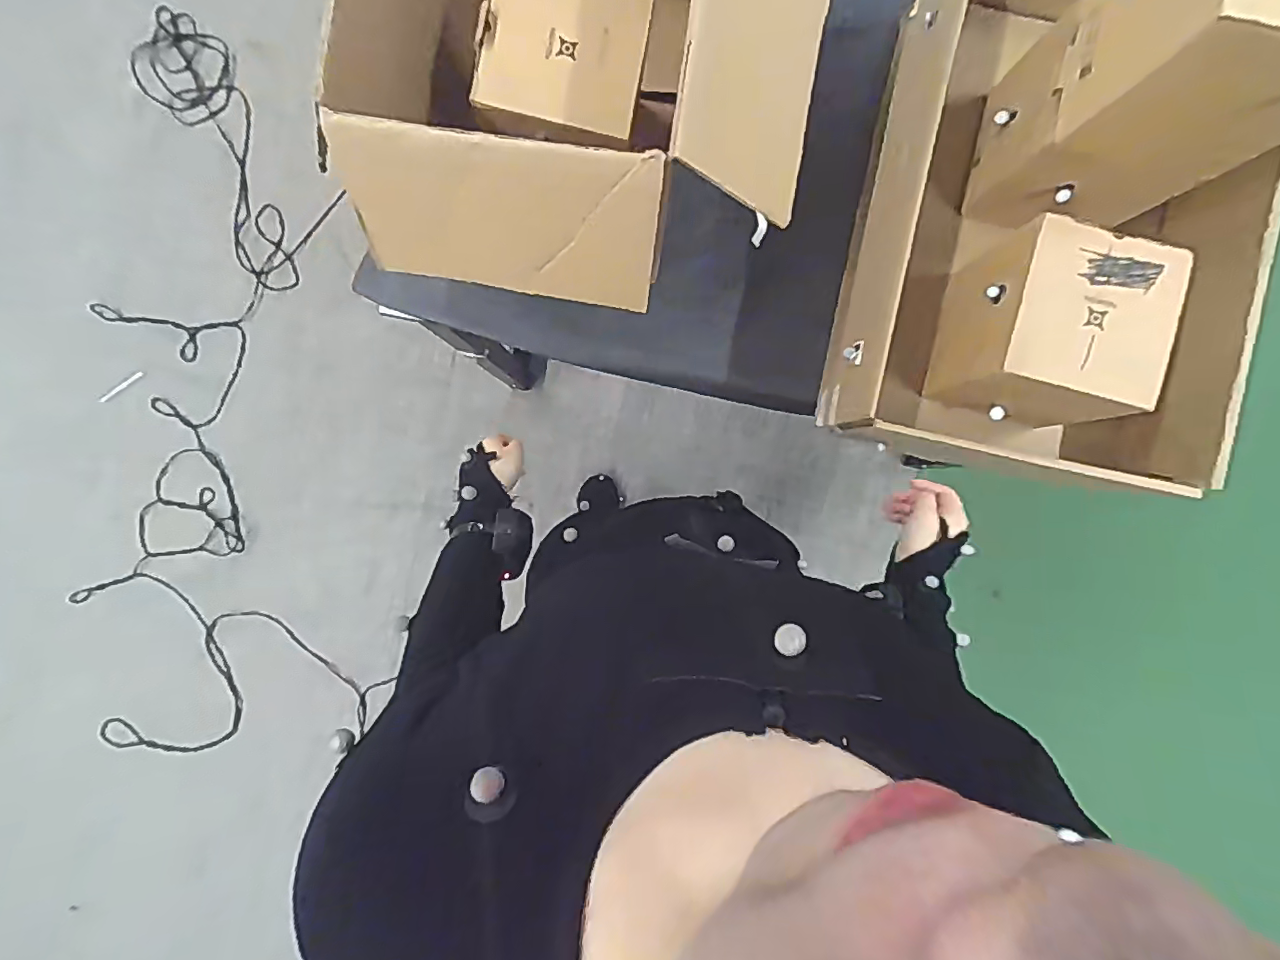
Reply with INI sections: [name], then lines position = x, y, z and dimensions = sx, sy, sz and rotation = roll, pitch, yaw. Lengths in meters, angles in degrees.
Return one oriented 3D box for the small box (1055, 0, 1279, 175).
[small box]
position = 0.526, -0.407, 0.485
dimensions = 0.179, 0.176, 0.168
rotation = 11, 92, -1
